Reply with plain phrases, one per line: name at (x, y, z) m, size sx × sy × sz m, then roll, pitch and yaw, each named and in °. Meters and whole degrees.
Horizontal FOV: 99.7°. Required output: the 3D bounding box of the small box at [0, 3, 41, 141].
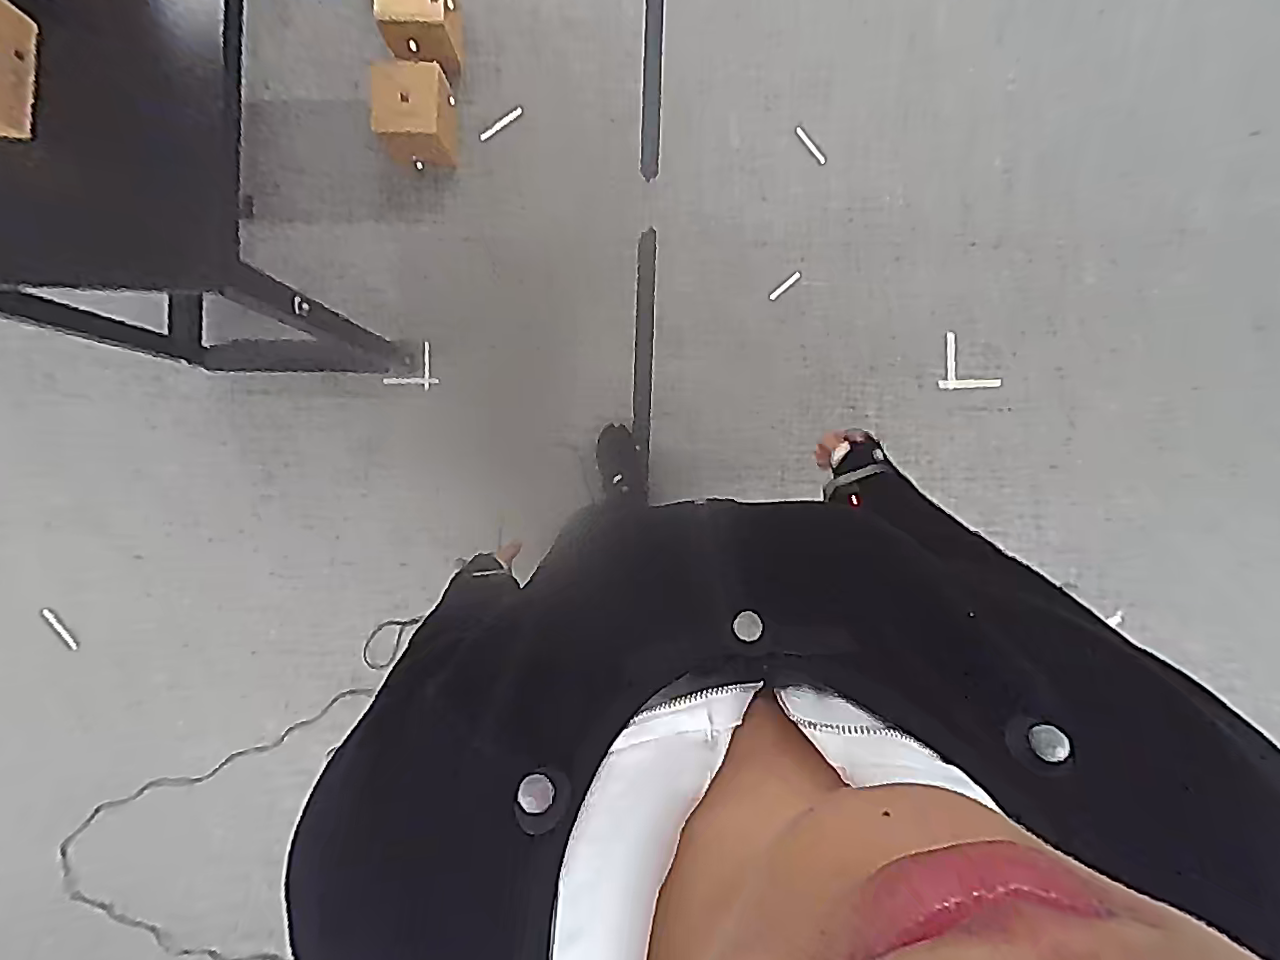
small box at (-0.943, -0.569, 0.694) m, size 0.179 × 0.176 × 0.168 m, roll 4°, pitch 90°, yaw 0°

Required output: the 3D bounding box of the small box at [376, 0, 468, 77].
small box at (-0.568, -1.200, 1.421) m, size 0.179 × 0.176 × 0.168 m, roll 0°, pitch 91°, yaw 0°

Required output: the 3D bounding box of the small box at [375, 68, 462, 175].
small box at (-0.577, -0.937, 1.424) m, size 0.168 × 0.176 × 0.179 m, roll 1°, pitch 91°, yaw 1°
